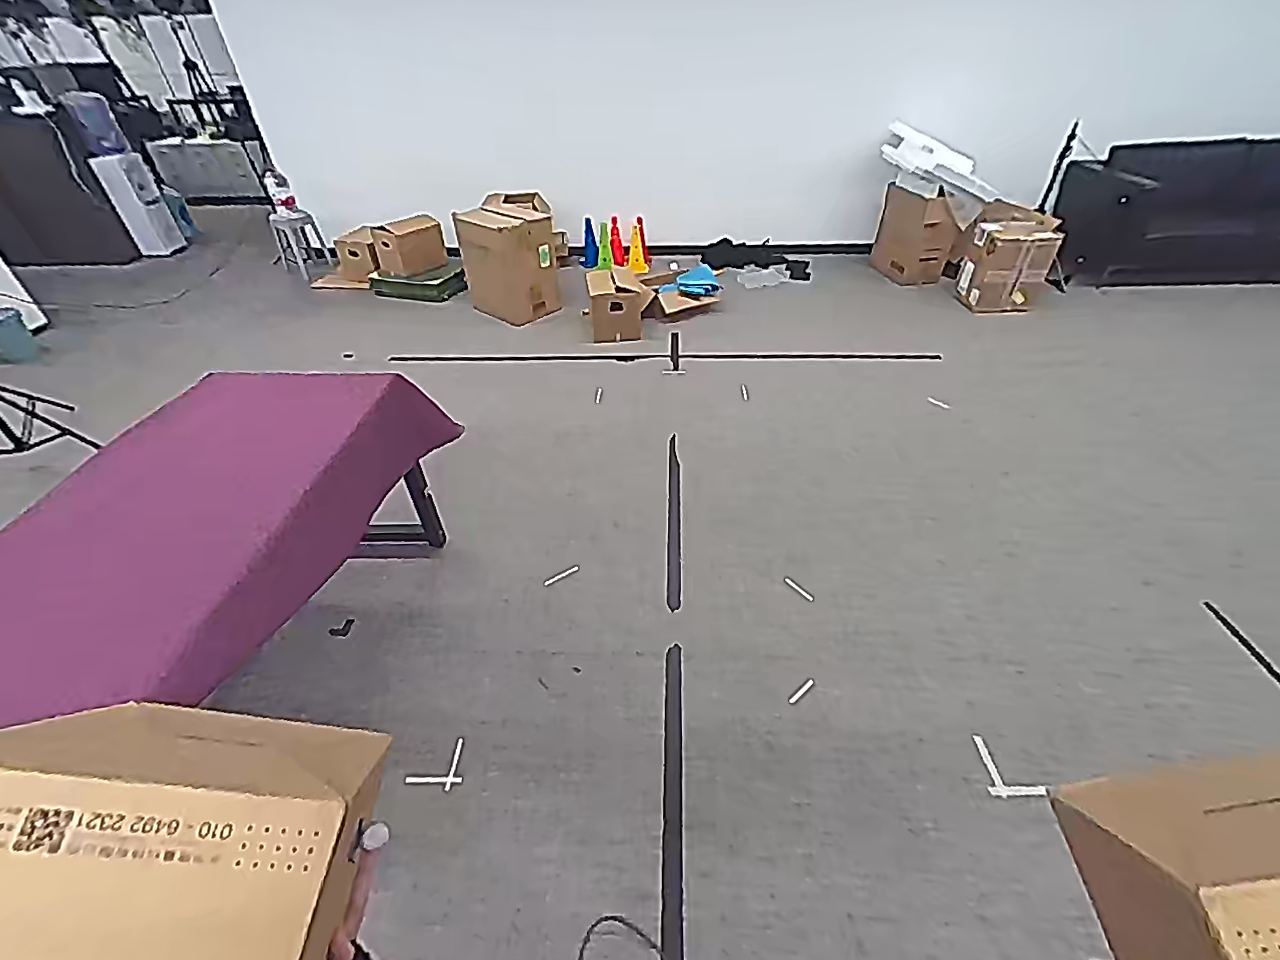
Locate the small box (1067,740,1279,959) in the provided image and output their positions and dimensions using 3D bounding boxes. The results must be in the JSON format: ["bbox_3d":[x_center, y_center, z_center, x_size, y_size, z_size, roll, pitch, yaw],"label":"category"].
[{"bbox_3d":[0.372,0.252,0.279,0.168,0.179,0.176,-17,72,12],"label":"small box"}]

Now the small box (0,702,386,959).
[{"bbox_3d":[-0.241,0.211,0.261,0.168,0.179,0.176,15,70,-13],"label":"small box"}]
